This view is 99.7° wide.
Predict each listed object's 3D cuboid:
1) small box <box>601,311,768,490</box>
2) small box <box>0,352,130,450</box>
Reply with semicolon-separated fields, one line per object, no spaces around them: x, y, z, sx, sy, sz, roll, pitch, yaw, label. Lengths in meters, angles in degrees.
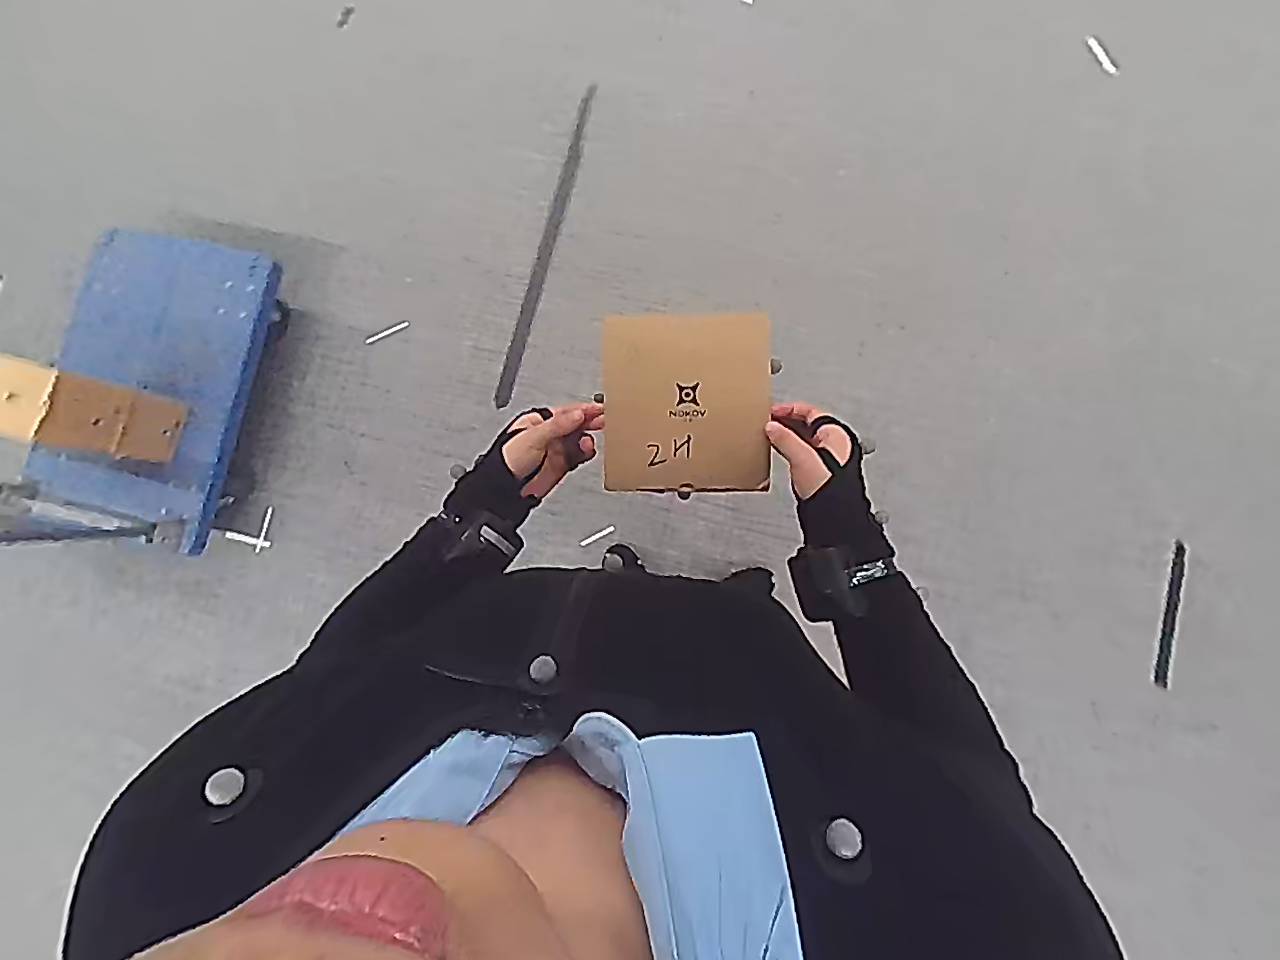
0.046;-0.078;0.607;0.168;0.176;0.179;-1;92;4;small box
-1.352;-0.174;1.243;0.179;0.176;0.168;15;85;6;small box
